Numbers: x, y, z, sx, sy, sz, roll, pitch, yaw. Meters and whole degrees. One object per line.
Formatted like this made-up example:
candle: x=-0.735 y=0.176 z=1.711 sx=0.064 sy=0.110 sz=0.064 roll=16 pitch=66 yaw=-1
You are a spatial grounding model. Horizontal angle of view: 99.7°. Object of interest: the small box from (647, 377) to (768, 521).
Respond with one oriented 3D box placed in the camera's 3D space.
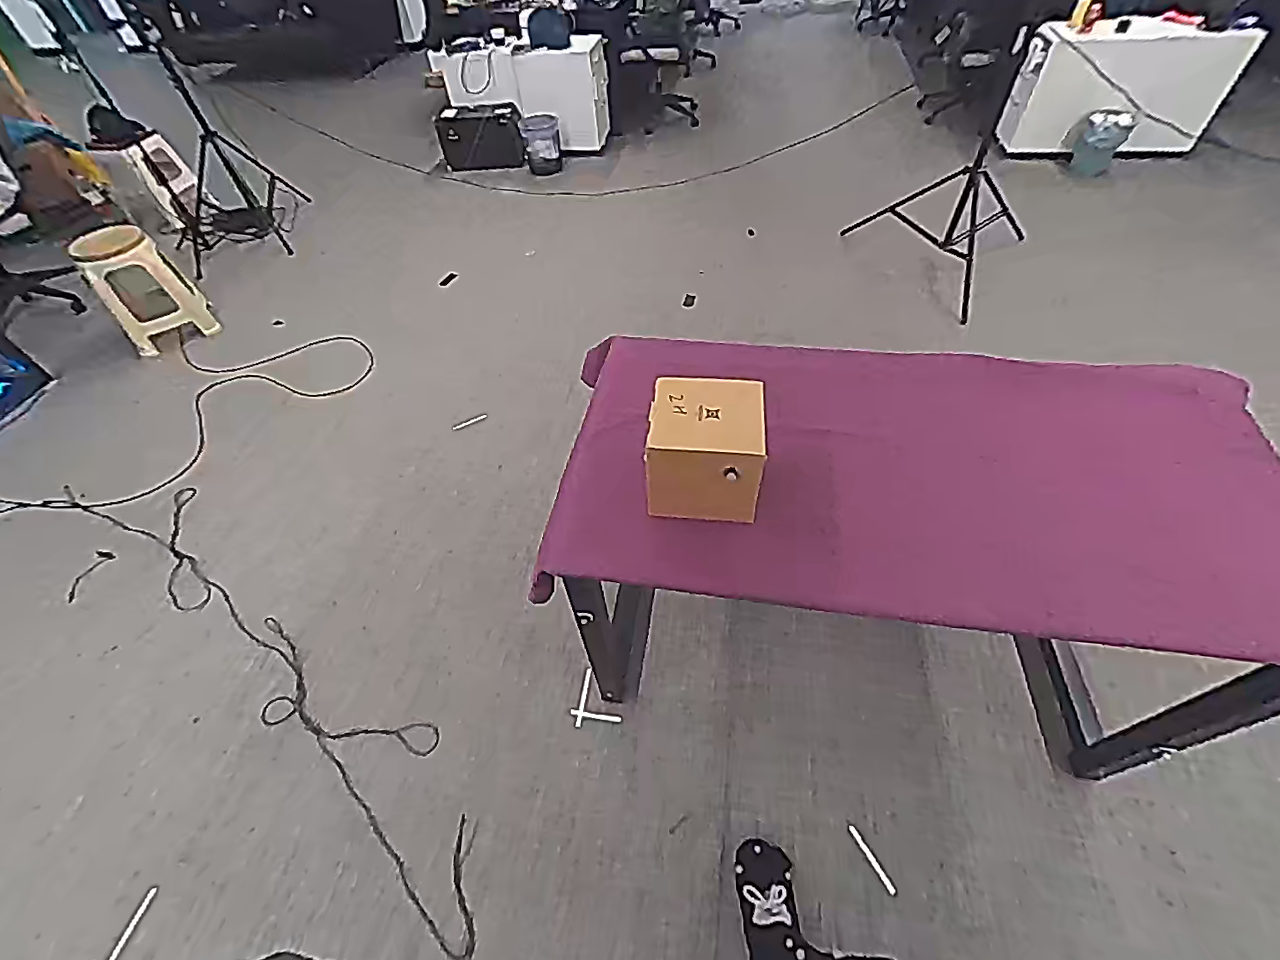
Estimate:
small box: x=0.110 y=-0.048 z=0.890 sx=0.179 sy=0.176 sz=0.168 roll=4 pitch=49 yaw=7
